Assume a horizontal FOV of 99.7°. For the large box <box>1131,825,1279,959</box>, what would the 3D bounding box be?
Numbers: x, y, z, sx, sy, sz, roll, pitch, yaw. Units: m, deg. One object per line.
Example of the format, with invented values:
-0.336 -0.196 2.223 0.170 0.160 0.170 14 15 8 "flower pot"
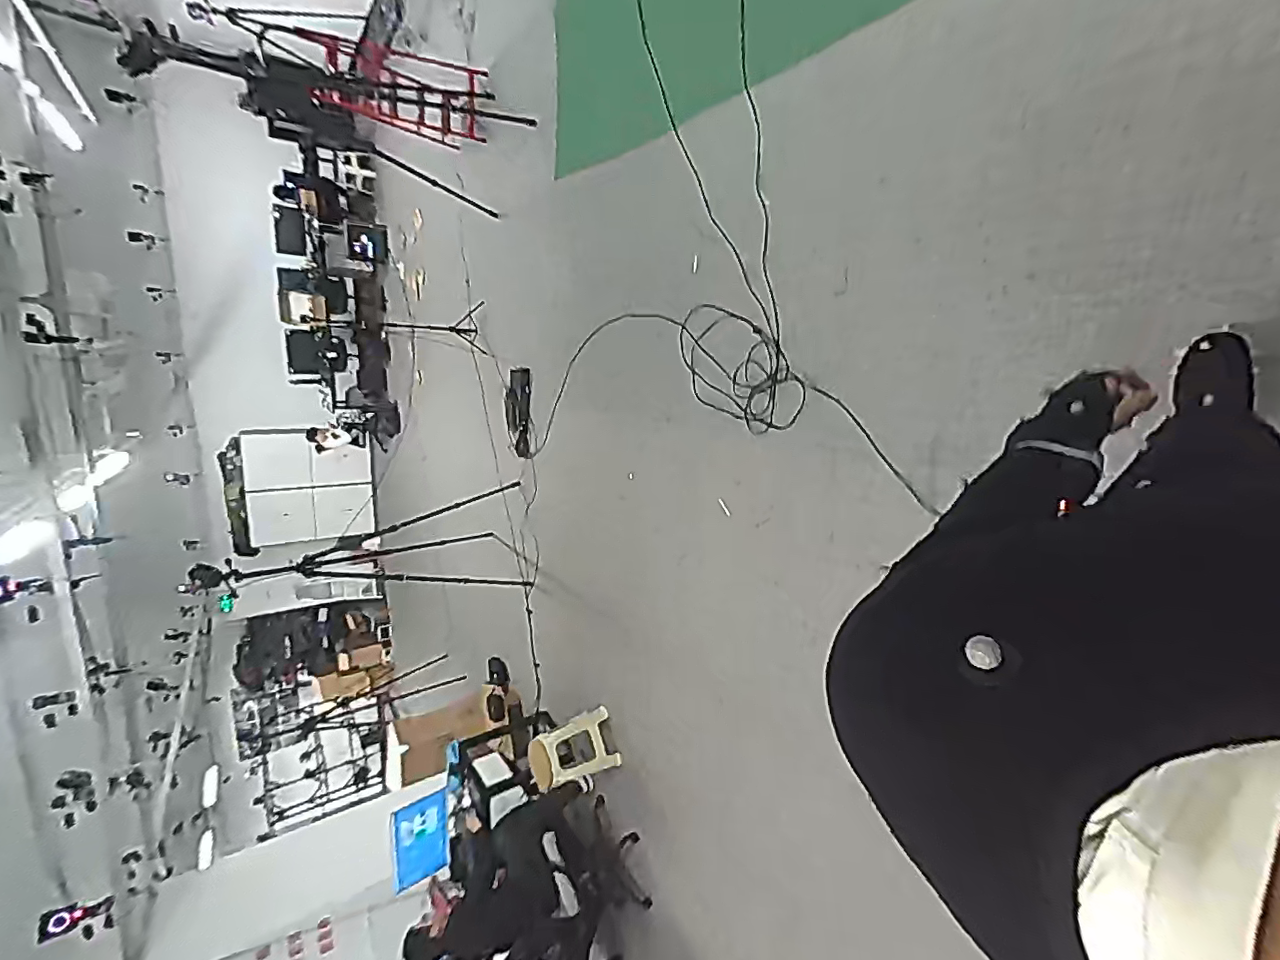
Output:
1.101 0.902 0.911 0.320 0.320 0.408 -10 87 54 "large box"
